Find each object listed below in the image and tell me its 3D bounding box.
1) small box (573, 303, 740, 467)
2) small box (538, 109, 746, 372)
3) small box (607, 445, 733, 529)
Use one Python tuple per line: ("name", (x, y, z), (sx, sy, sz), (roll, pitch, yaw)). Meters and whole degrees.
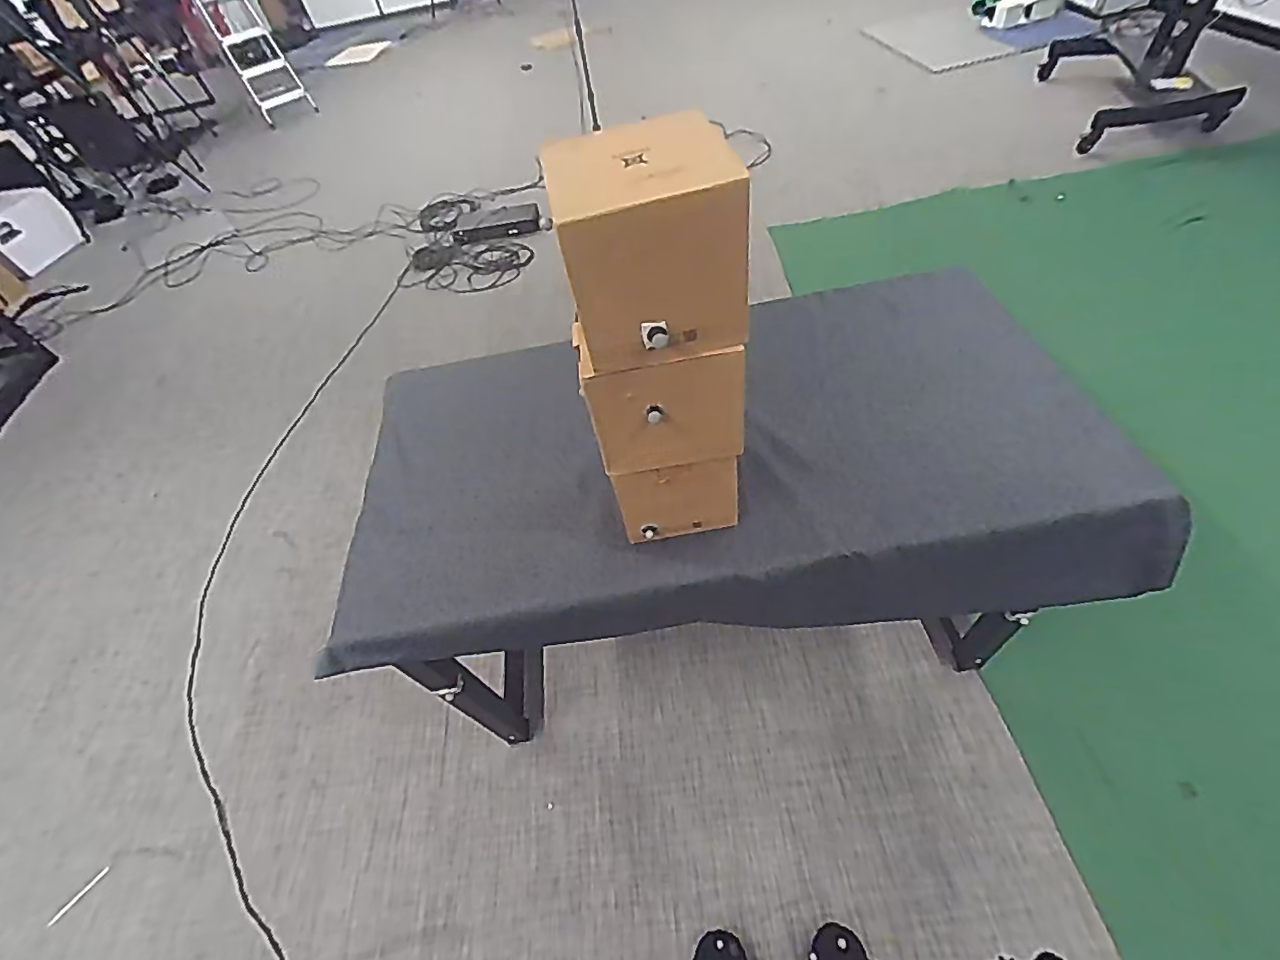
("small box", (0.023, -0.136, 0.681), (0.179, 0.176, 0.168), (-11, 49, 0))
("small box", (0.003, -0.241, 0.555), (0.168, 0.176, 0.179), (-15, 52, 0))
("small box", (0.043, -0.042, 0.810), (0.168, 0.176, 0.179), (-10, 50, 2))
